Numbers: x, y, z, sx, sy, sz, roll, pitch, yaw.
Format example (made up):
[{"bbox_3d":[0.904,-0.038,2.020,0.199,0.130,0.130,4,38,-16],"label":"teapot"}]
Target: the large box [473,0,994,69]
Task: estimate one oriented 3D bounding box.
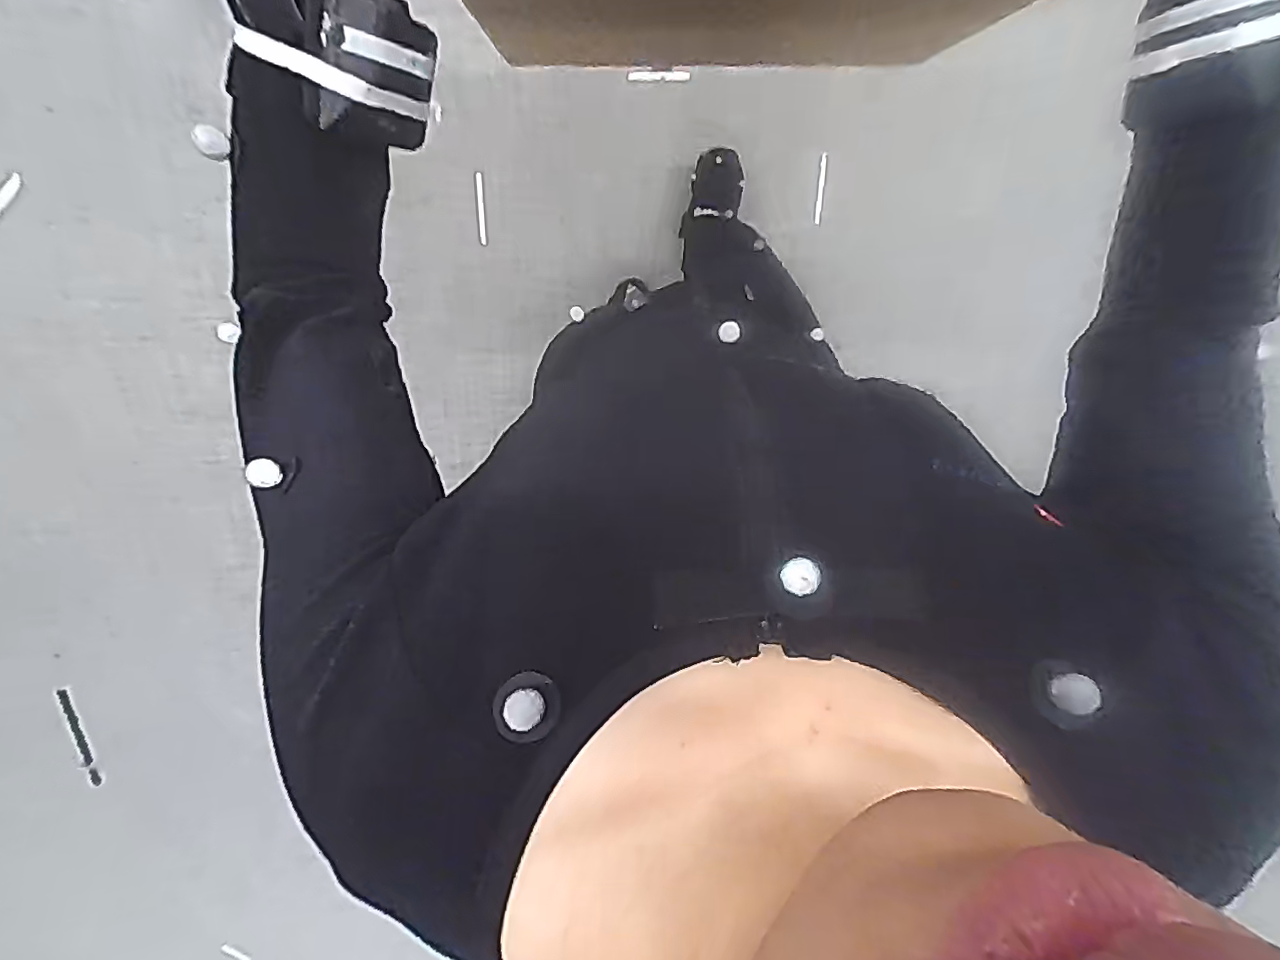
[{"bbox_3d":[0.071,-0.485,0.329,0.408,0.320,0.320,-2,115,-2],"label":"large box"}]
